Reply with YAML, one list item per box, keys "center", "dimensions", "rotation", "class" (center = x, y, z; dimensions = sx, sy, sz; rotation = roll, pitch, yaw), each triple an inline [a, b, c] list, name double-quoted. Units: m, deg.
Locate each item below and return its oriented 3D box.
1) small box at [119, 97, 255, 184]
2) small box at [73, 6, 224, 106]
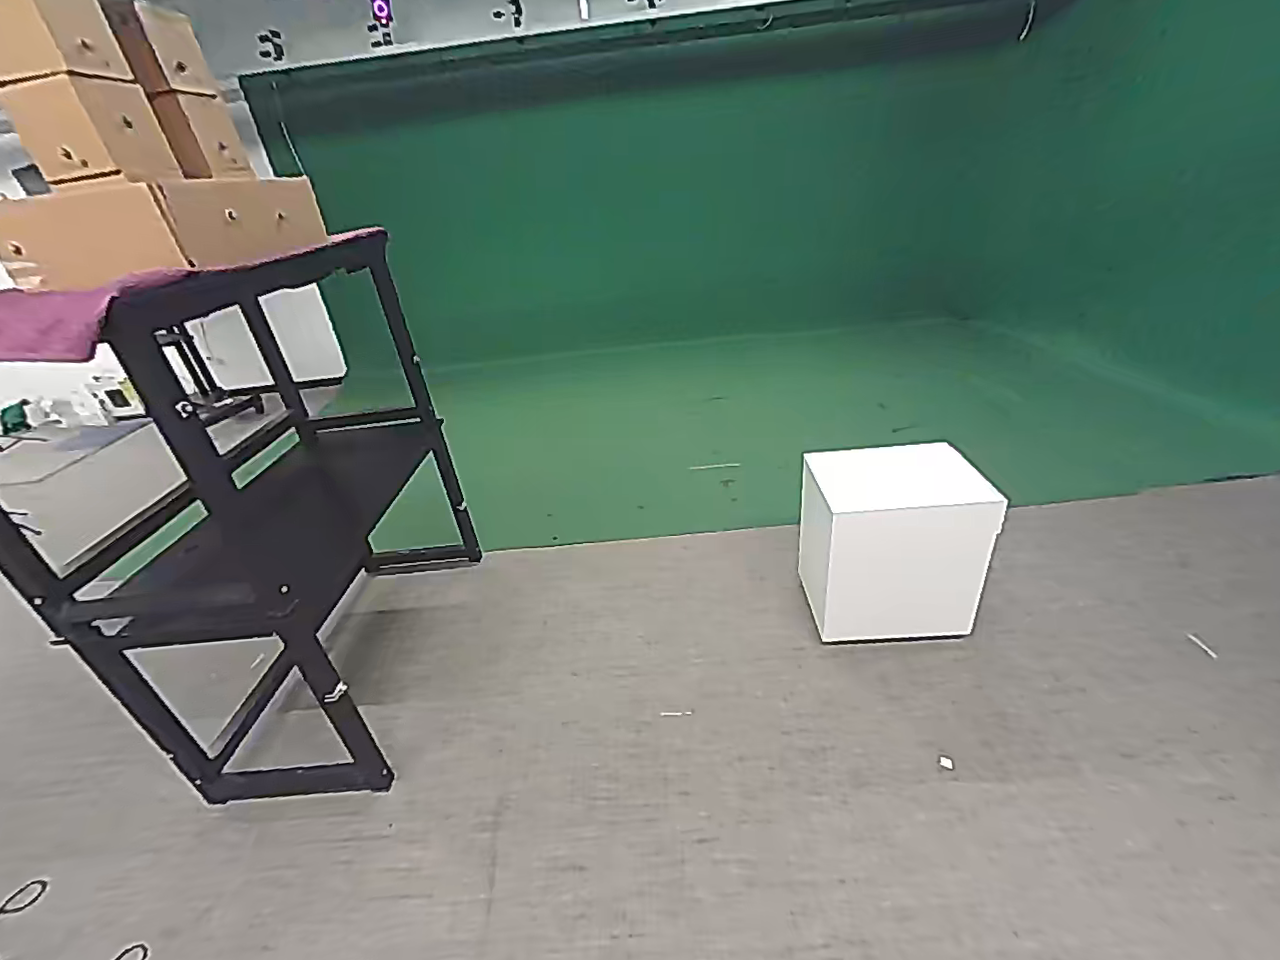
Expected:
- center: [-1.166, -0.879, 1.409]
  dimensions: [0.179, 0.176, 0.168]
  rotation: [-5, 31, 5]
  class: "small box"
- center: [-1.182, -1.011, 1.315]
  dimensions: [0.179, 0.176, 0.168]
  rotation: [-5, 31, 6]
  class: "small box"
